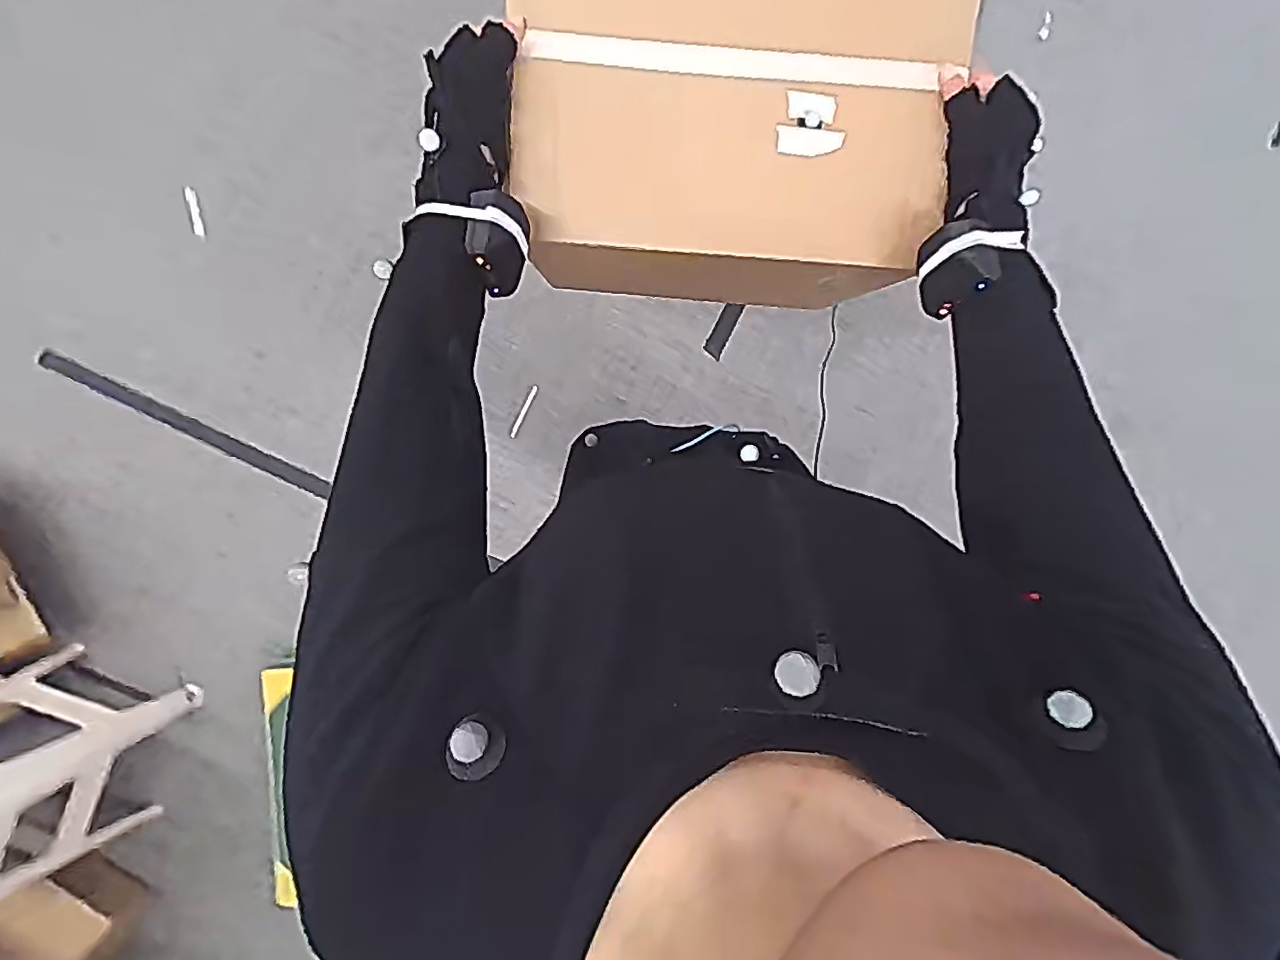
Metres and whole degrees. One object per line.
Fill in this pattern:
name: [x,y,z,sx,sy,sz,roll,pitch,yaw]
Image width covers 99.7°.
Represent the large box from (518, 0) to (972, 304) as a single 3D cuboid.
large box: [0.086,-0.396,0.631,0.408,0.320,0.320,4,102,-3]
